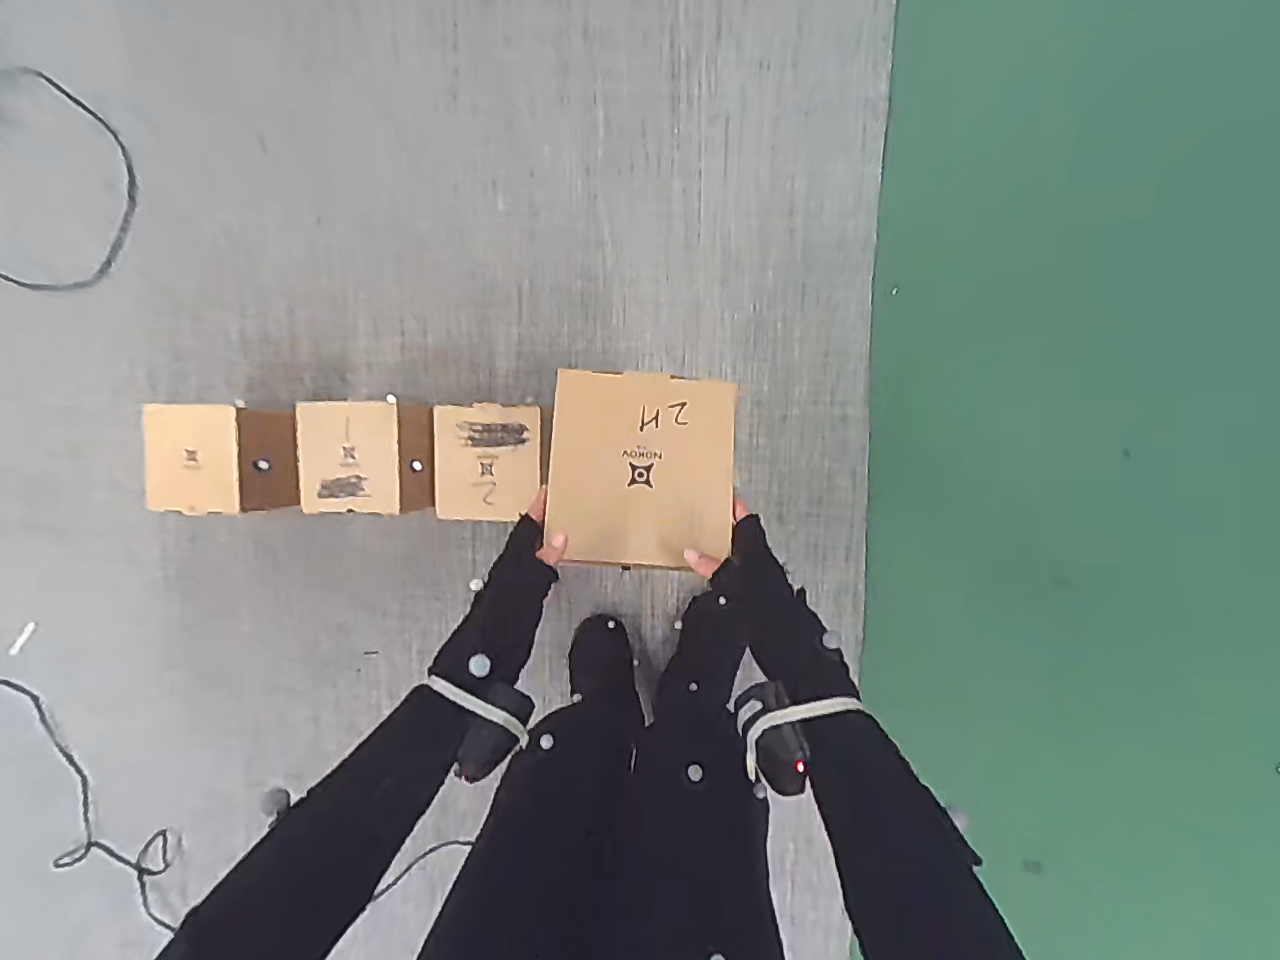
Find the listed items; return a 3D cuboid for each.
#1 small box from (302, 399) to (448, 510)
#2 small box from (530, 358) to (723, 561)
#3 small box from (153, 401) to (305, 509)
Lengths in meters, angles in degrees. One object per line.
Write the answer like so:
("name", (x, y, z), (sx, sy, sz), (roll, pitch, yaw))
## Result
("small box", (-0.444, -0.046, 0.929), (0.168, 0.176, 0.179), (1, 93, 7))
("small box", (-0.013, -0.008, 0.564), (0.168, 0.176, 0.179), (4, 79, -3))
("small box", (-0.709, -0.046, 0.962), (0.168, 0.176, 0.179), (1, 94, 7))
